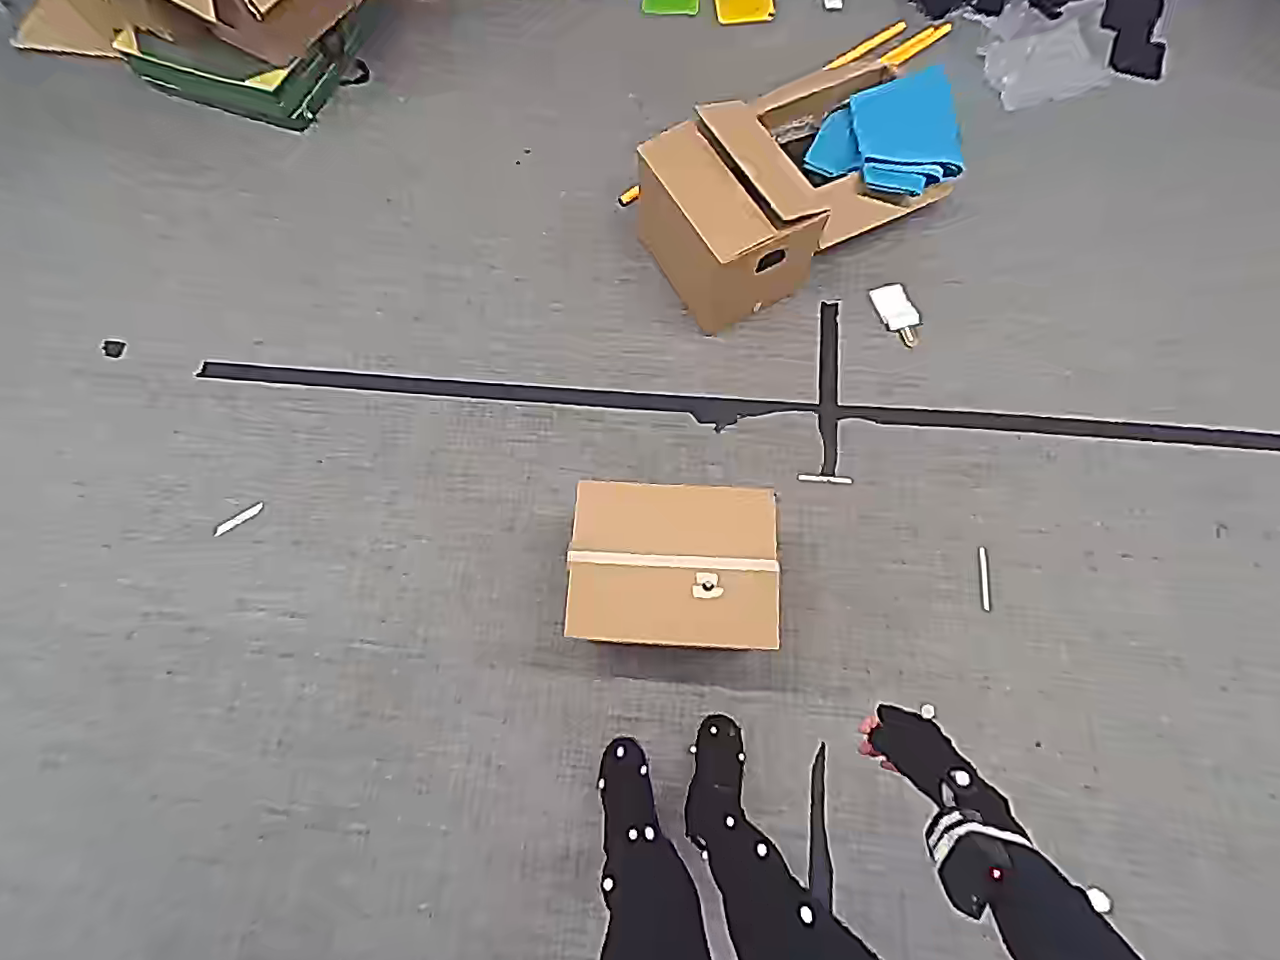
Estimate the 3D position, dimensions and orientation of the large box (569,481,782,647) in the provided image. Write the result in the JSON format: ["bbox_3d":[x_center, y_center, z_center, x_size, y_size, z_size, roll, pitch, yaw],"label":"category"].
[{"bbox_3d":[0.070,0.198,1.185,0.408,0.320,0.320,2,74,2],"label":"large box"}]
